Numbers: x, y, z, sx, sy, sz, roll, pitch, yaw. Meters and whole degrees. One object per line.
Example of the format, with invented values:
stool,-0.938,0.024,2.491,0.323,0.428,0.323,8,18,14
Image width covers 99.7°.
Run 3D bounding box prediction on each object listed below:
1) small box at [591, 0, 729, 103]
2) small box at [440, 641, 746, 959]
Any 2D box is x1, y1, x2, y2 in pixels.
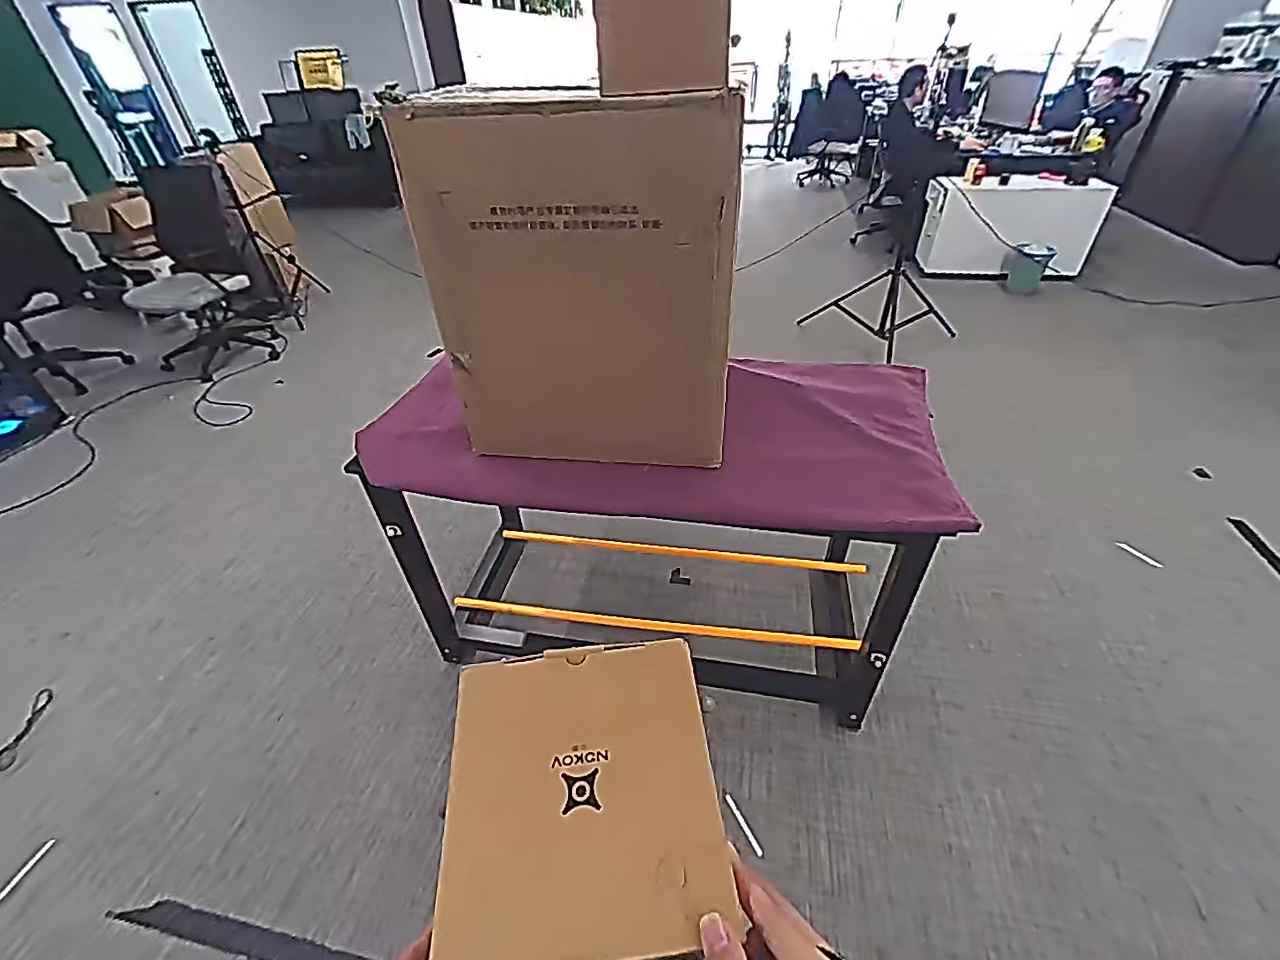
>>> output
small box,0.032,-0.623,0.736,0.179,0.176,0.168,1,39,7
small box,-0.030,0.245,0.392,0.168,0.176,0.179,-7,46,-4
